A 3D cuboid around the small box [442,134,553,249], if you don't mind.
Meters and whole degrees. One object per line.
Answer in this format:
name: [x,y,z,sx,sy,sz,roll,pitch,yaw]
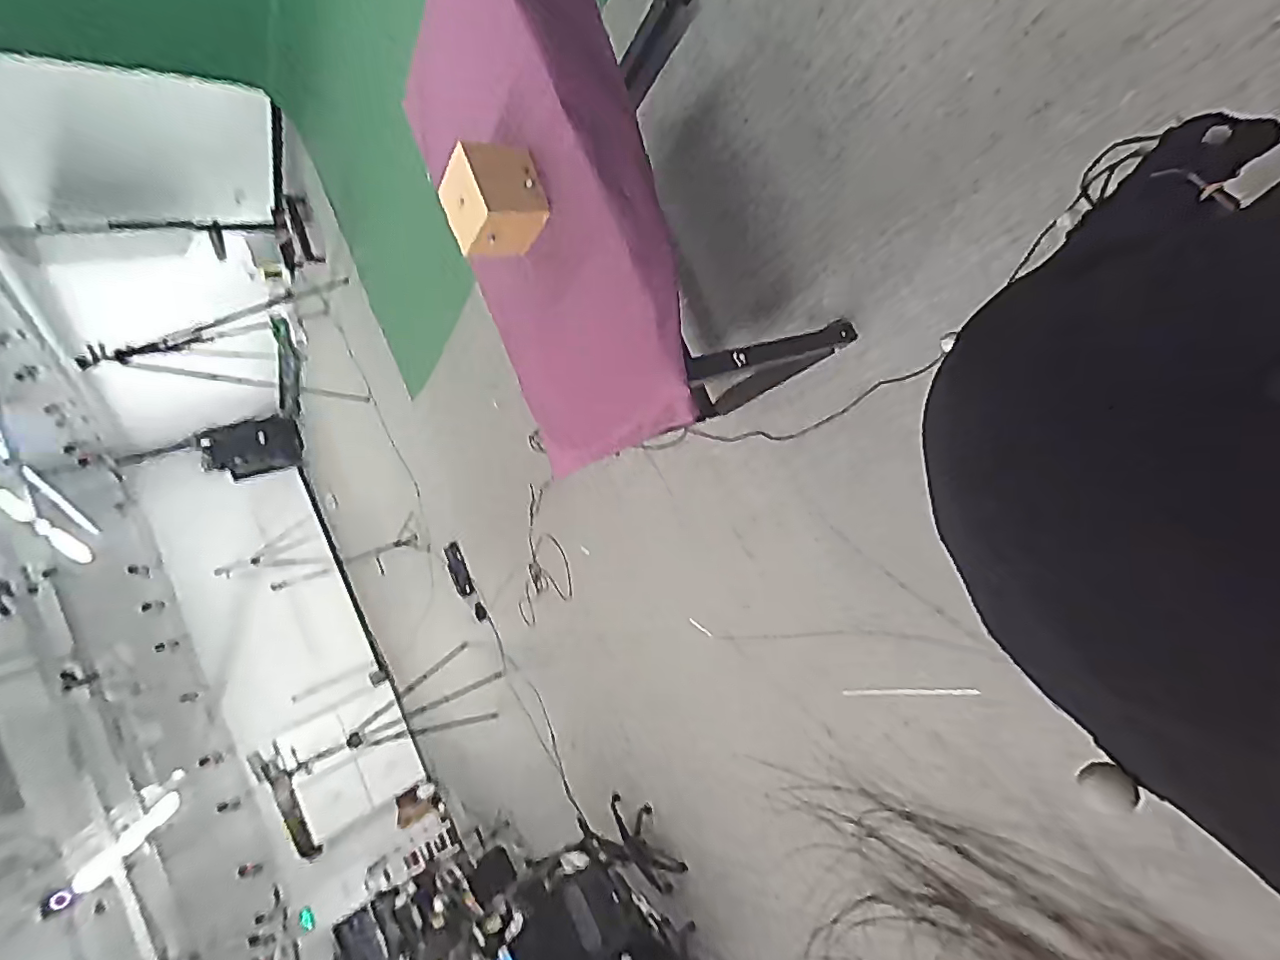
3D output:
small box: [-0.328,-0.655,1.247,0.179,0.176,0.168,-21,91,52]
